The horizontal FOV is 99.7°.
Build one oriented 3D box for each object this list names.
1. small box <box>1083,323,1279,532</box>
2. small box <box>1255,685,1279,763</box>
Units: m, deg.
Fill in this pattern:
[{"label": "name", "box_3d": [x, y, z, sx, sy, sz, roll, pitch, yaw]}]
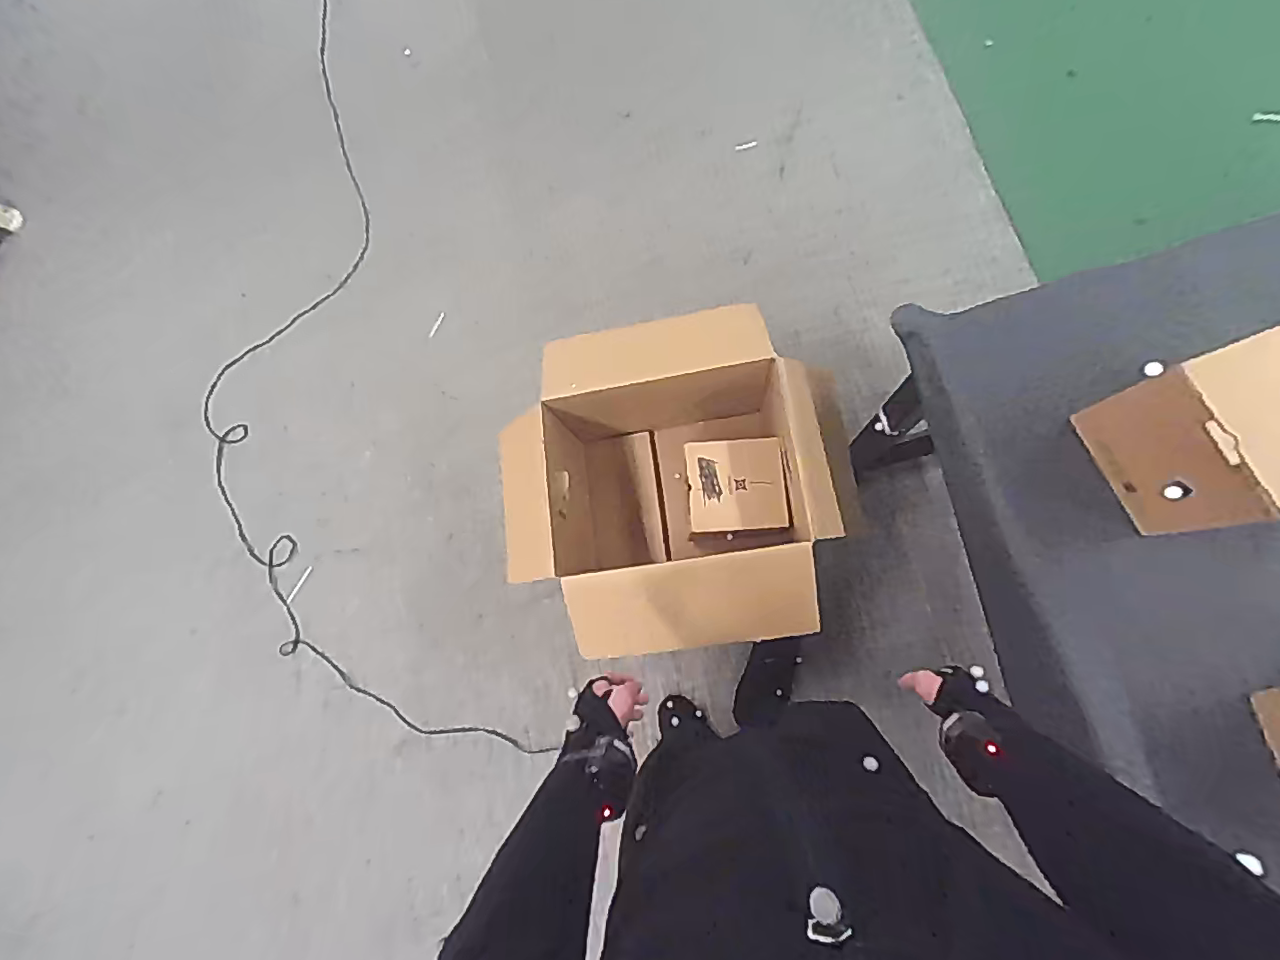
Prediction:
[{"label": "small box", "box_3d": [0.634, -0.053, 0.580, 0.179, 0.176, 0.168, -23, 78, 1]}, {"label": "small box", "box_3d": [0.753, 0.285, 0.491, 0.168, 0.176, 0.179, -13, 78, 6]}]
